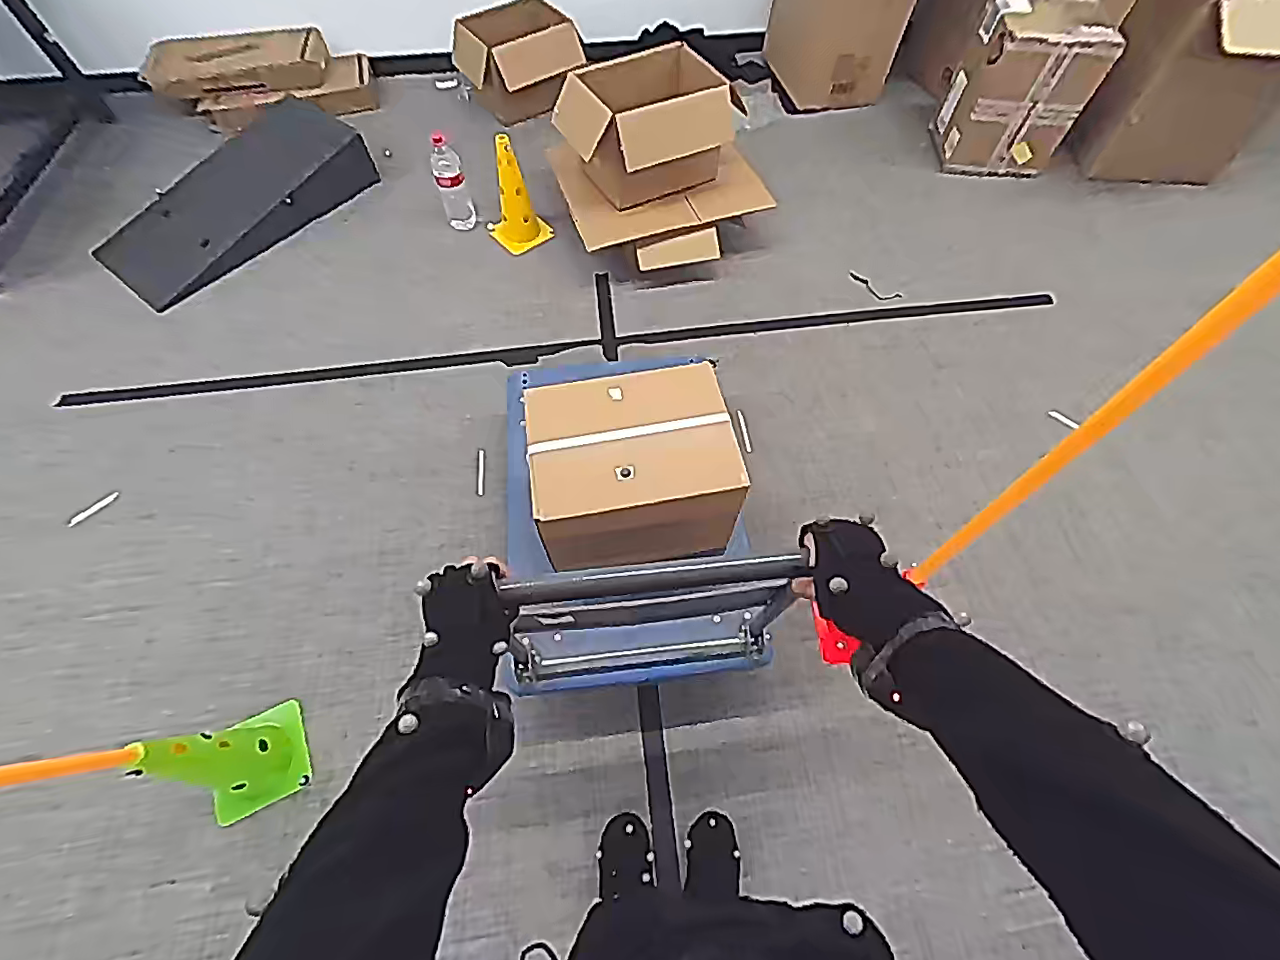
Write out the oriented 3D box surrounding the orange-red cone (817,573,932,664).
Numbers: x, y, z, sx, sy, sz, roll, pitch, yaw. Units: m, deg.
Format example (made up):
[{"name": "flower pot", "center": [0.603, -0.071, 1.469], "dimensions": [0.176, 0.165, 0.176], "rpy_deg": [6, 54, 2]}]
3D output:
[{"name": "orange-red cone", "center": [0.556, 0.281, 1.216], "dimensions": [0.199, 0.360, 0.198], "rpy_deg": [0, 62, -1]}]
